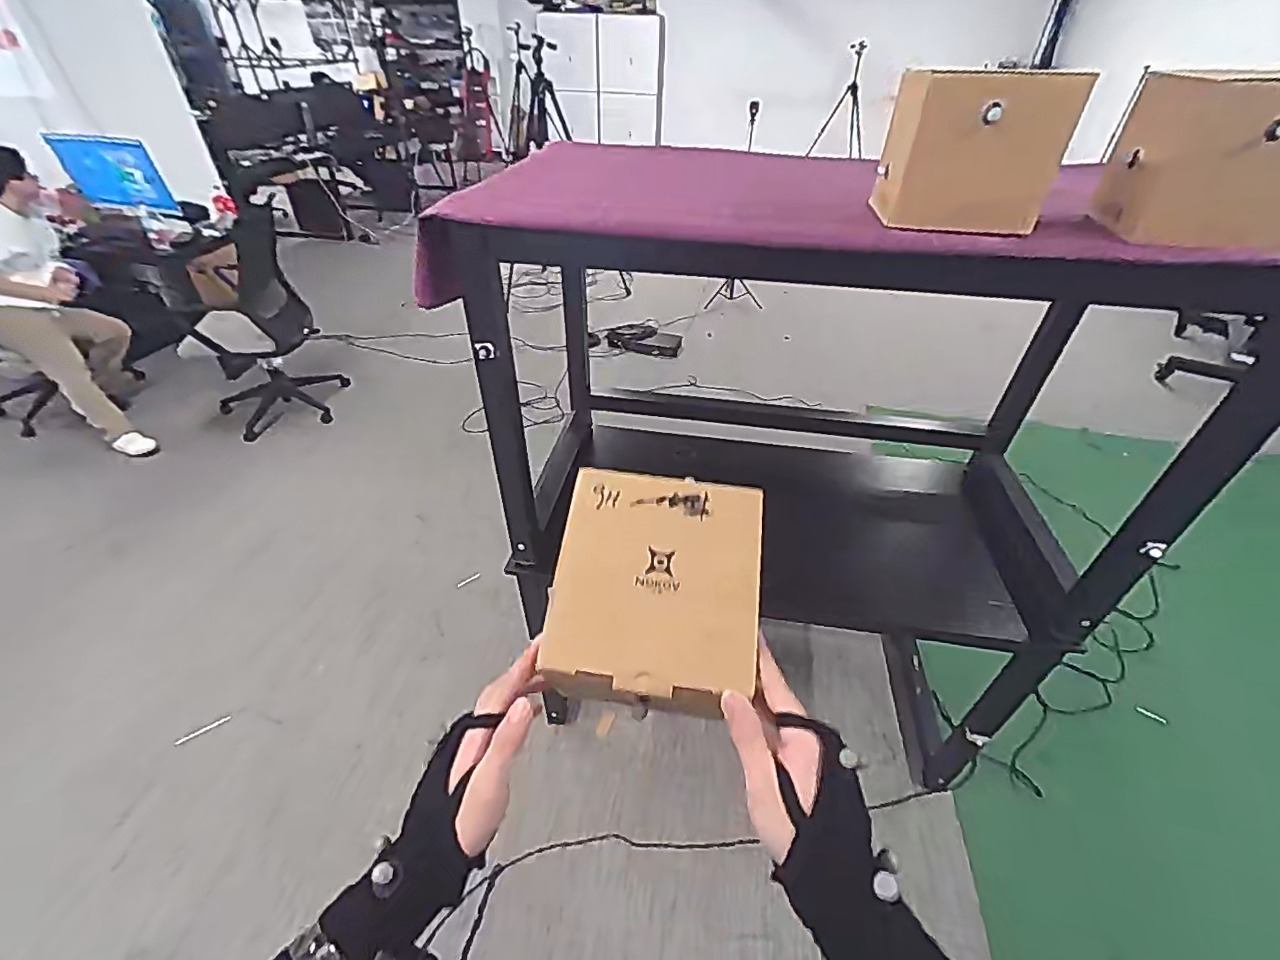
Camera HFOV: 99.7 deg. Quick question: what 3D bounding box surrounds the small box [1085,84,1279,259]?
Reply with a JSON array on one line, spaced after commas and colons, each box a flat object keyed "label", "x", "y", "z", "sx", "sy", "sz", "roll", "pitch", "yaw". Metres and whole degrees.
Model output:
[{"label": "small box", "x": 0.705, "y": -0.387, "z": 0.675, "sx": 0.179, "sy": 0.176, "sz": 0.168, "roll": 9, "pitch": 40, "yaw": 11}]

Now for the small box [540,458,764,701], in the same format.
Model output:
[{"label": "small box", "x": 0.017, "y": 0.102, "z": 0.512, "sx": 0.168, "sy": 0.176, "sz": 0.179, "roll": 7, "pitch": 62, "yaw": 4}]

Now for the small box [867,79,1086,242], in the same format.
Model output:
[{"label": "small box", "x": 0.423, "y": -0.424, "z": 0.718, "sx": 0.179, "sy": 0.176, "sz": 0.168, "roll": 6, "pitch": 38, "yaw": 8}]
